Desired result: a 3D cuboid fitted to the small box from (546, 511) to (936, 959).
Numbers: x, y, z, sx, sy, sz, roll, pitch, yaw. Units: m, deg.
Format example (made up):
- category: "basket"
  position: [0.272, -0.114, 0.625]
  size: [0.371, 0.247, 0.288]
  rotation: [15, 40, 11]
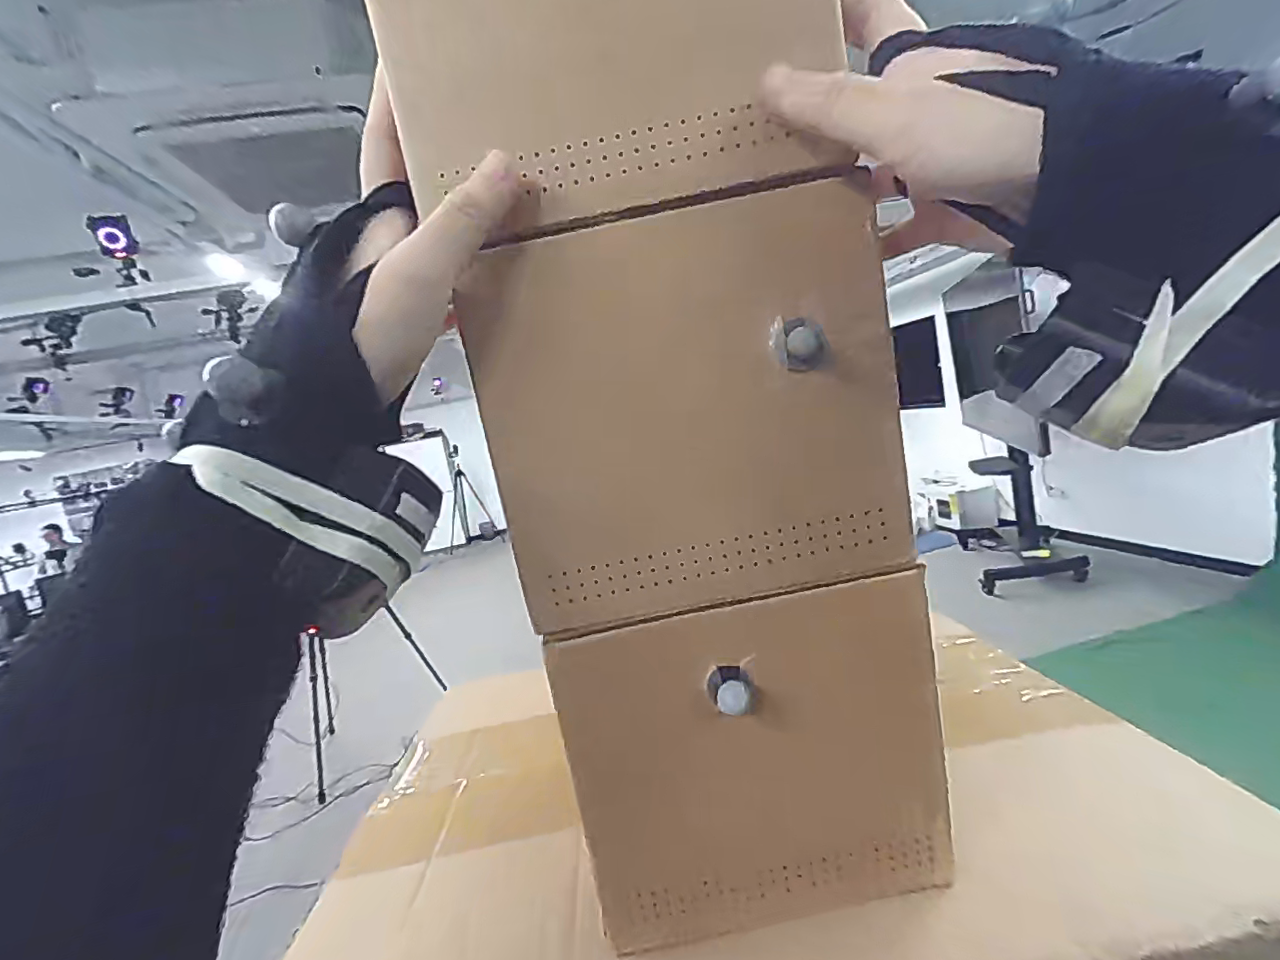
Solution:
- category: "small box"
  position: [0.054, 0.131, 0.329]
  size: [0.179, 0.176, 0.168]
  rotation: [-11, 9, -1]
